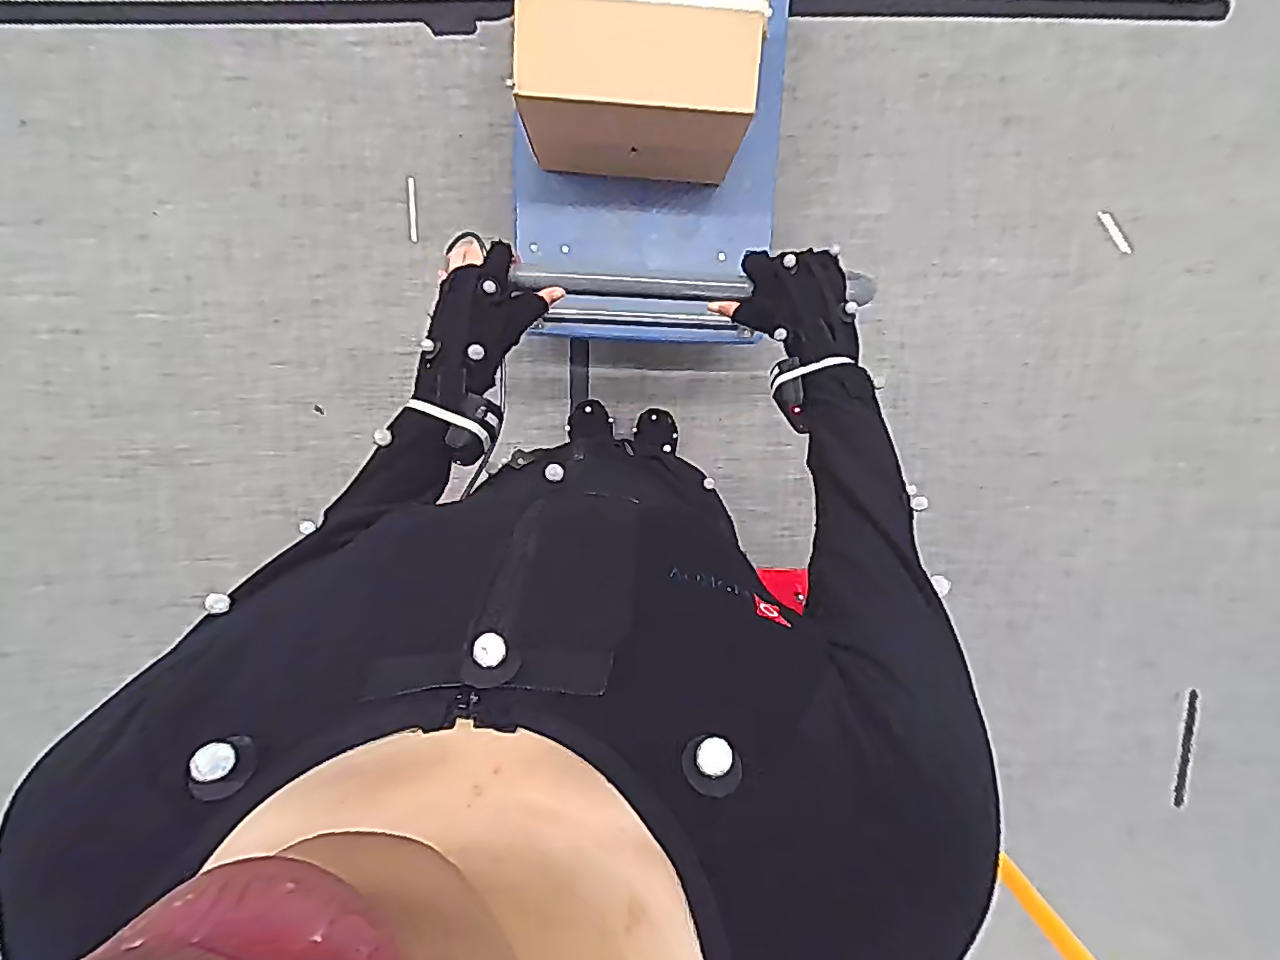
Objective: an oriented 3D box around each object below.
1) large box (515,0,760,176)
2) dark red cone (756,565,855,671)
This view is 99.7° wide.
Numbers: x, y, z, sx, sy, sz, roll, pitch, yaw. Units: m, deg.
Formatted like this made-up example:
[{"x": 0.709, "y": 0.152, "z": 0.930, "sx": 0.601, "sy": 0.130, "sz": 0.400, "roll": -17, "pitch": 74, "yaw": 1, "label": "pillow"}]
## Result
[{"x": -0.004, "y": -0.799, "z": 1.020, "sx": 0.408, "sy": 0.320, "sz": 0.320, "roll": 3, "pitch": 99, "yaw": -2, "label": "large box"}, {"x": 0.432, "y": 0.362, "z": 1.347, "sx": 0.201, "sy": 0.394, "sz": 0.202, "roll": -1, "pitch": 100, "yaw": -3, "label": "dark red cone"}]
